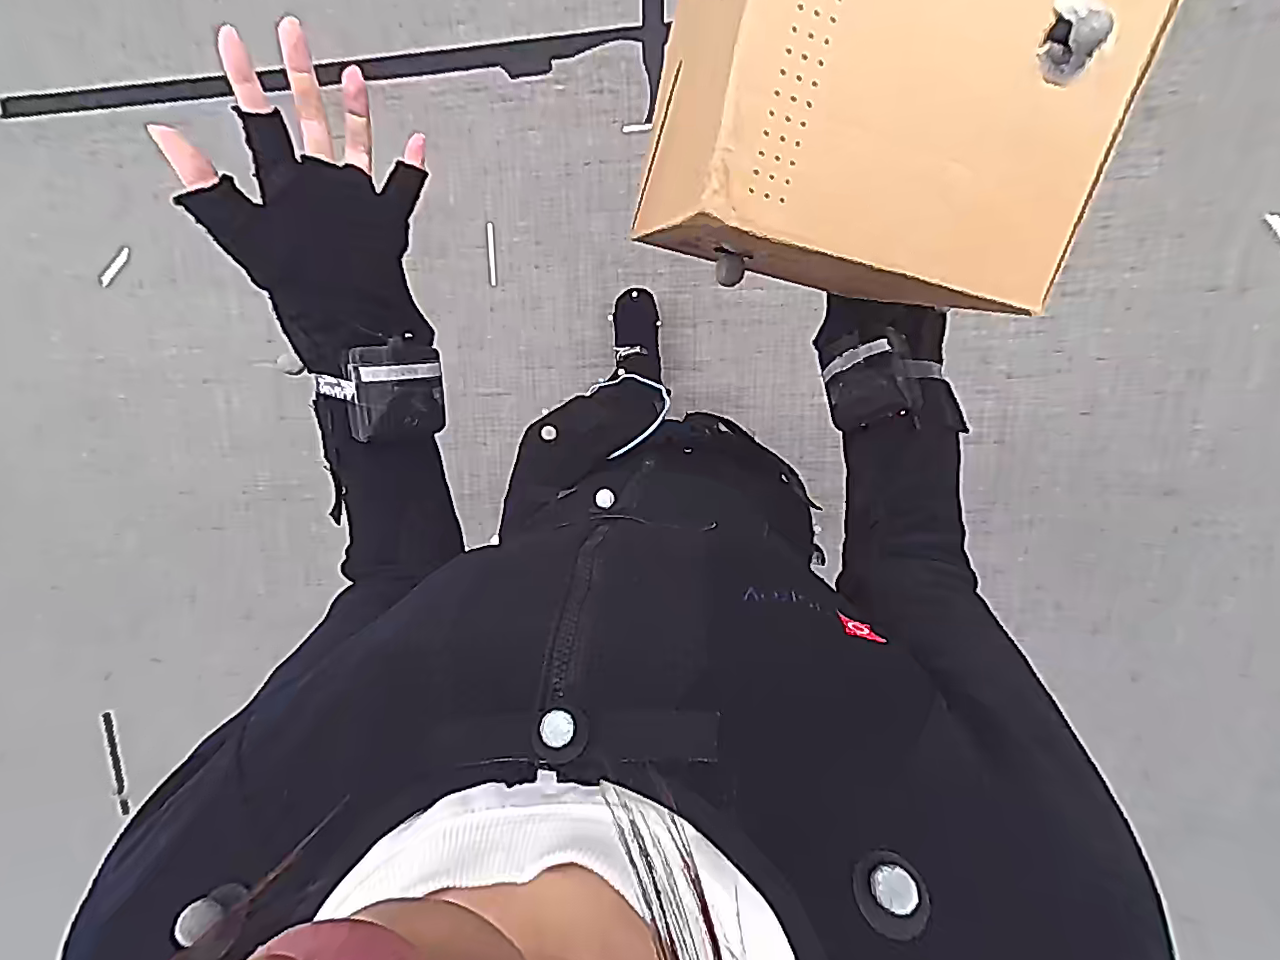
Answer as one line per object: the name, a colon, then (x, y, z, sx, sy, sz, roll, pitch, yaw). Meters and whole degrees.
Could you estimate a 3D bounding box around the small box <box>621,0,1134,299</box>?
small box: (0.096, -0.202, 0.278, 0.176, 0.168, 0.179, 9, 109, -13)
